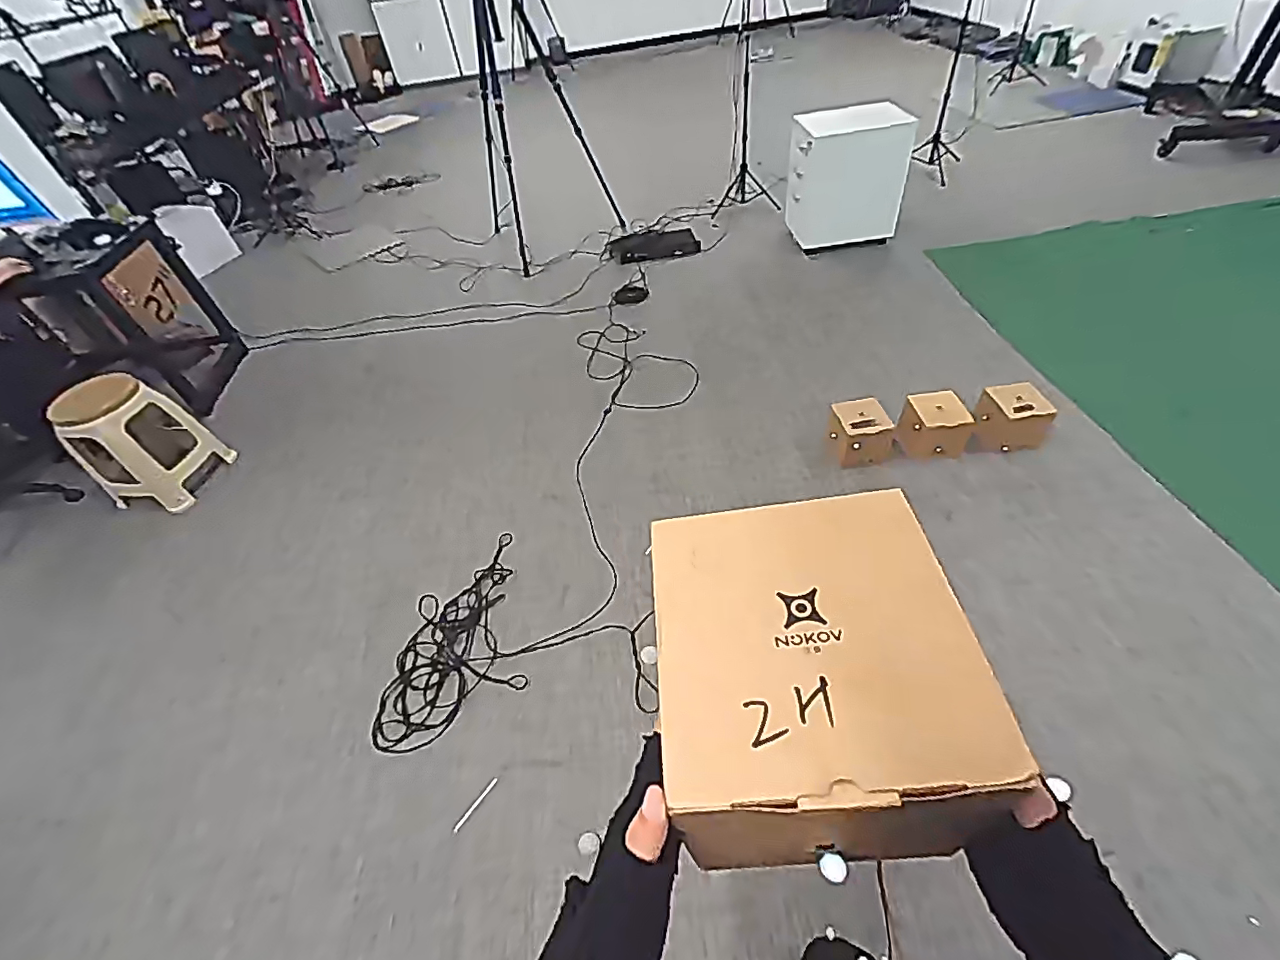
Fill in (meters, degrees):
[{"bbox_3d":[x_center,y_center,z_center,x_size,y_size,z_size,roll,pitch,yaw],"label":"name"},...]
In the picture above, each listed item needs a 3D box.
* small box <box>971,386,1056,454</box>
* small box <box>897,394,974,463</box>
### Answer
[{"bbox_3d":[1.319,-0.208,1.928,0.168,0.176,0.179,-7,46,1],"label":"small box"},{"bbox_3d":[1.052,-0.182,1.942,0.168,0.176,0.179,-7,47,1],"label":"small box"}]
